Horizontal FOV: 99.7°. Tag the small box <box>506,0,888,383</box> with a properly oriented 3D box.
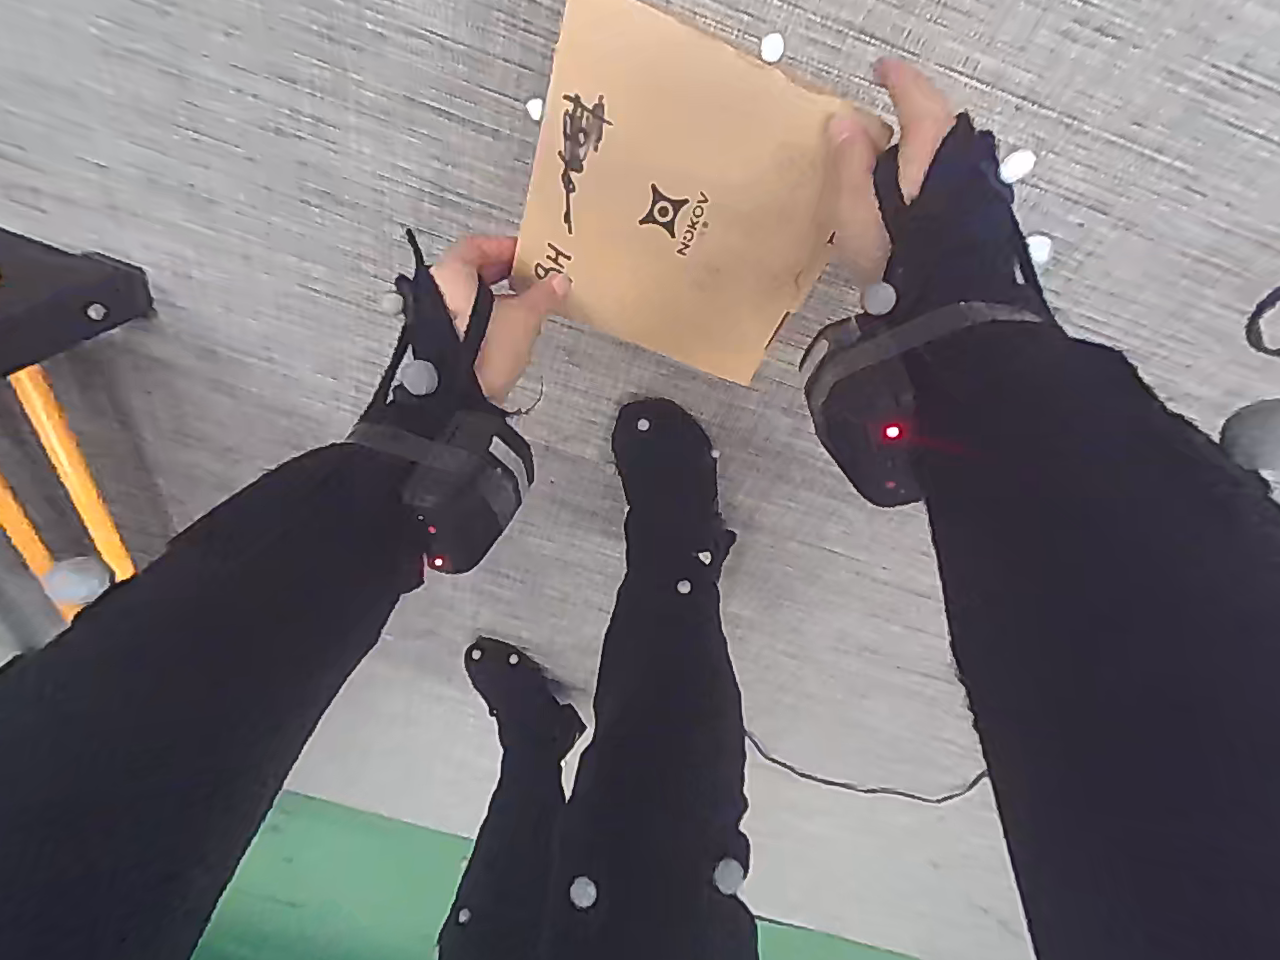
[{"bbox_3d":[0.030,-0.202,0.375,0.179,0.176,0.168,21,128,-8],"label":"small box"}]
